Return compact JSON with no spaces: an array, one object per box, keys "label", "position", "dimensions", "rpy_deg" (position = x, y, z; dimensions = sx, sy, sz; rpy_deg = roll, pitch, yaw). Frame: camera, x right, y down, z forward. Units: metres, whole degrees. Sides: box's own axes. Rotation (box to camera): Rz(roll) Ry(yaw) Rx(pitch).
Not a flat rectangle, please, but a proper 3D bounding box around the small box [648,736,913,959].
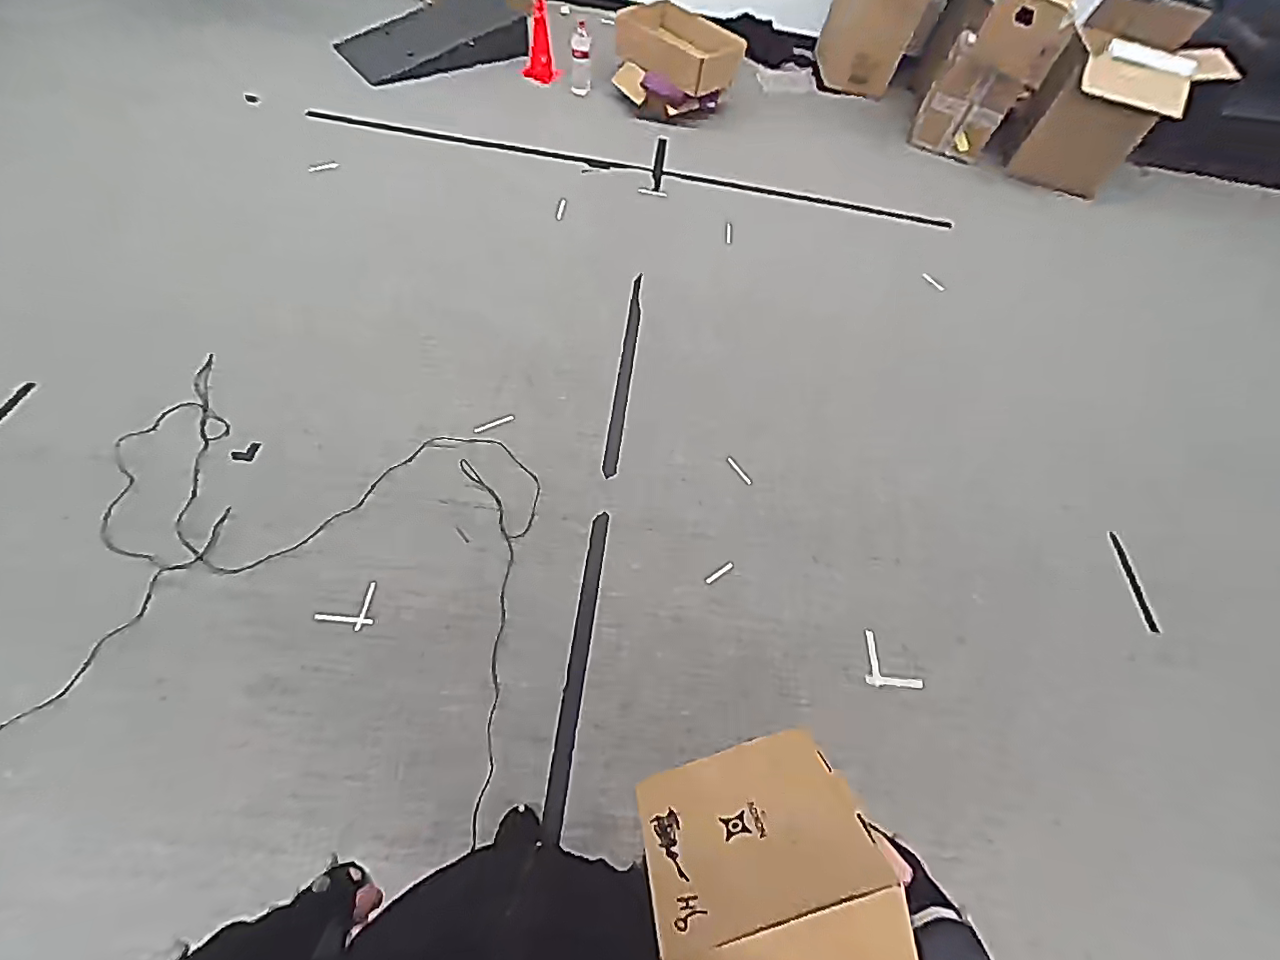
[{"label":"small box","position":[0.119,0.373,0.478],"dimensions":[0.179,0.168,0.176],"rpy_deg":[-17,102,-3]}]
